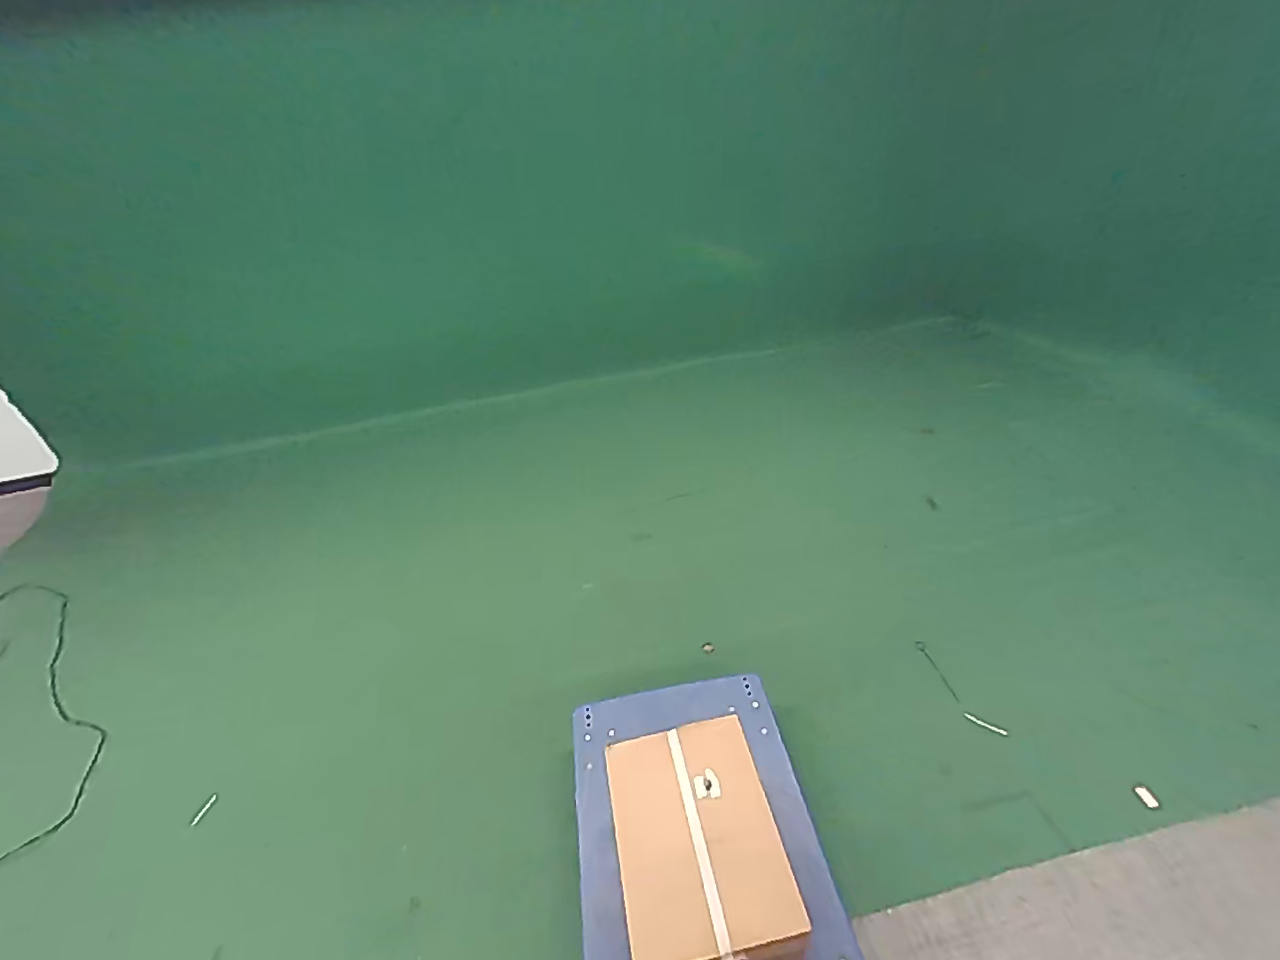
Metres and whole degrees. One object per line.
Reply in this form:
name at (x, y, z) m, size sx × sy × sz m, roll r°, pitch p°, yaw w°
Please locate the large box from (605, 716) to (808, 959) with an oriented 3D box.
large box at (0.127, 0.806, 1.167) m, size 0.320 × 0.320 × 0.408 m, roll -12°, pitch 37°, yaw -5°
